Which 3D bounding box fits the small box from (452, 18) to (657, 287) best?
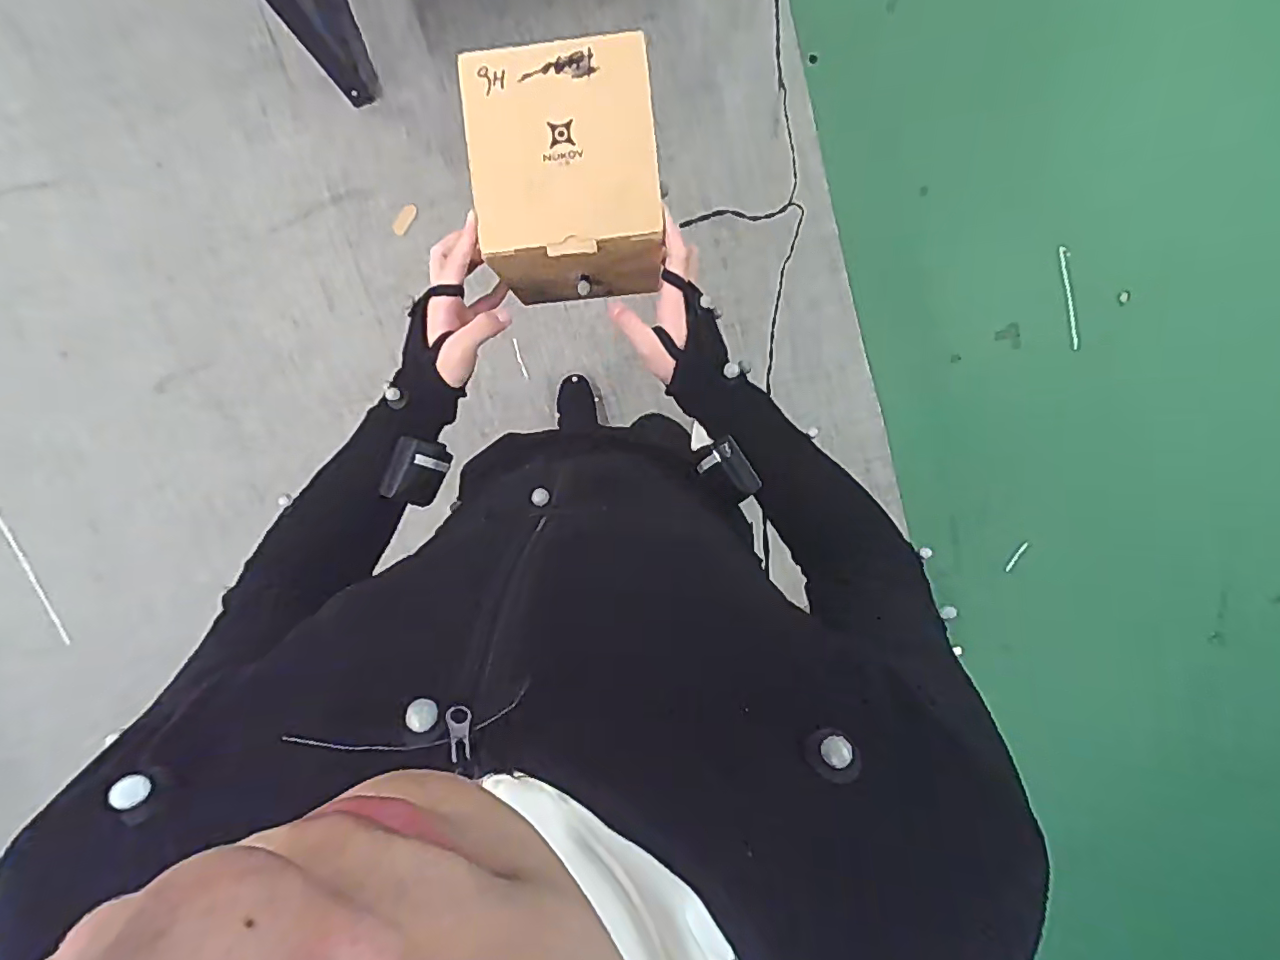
[{"bbox_3d":[-0.070,-0.304,0.544,0.168,0.176,0.179,-6,94,1],"label":"small box"}]
